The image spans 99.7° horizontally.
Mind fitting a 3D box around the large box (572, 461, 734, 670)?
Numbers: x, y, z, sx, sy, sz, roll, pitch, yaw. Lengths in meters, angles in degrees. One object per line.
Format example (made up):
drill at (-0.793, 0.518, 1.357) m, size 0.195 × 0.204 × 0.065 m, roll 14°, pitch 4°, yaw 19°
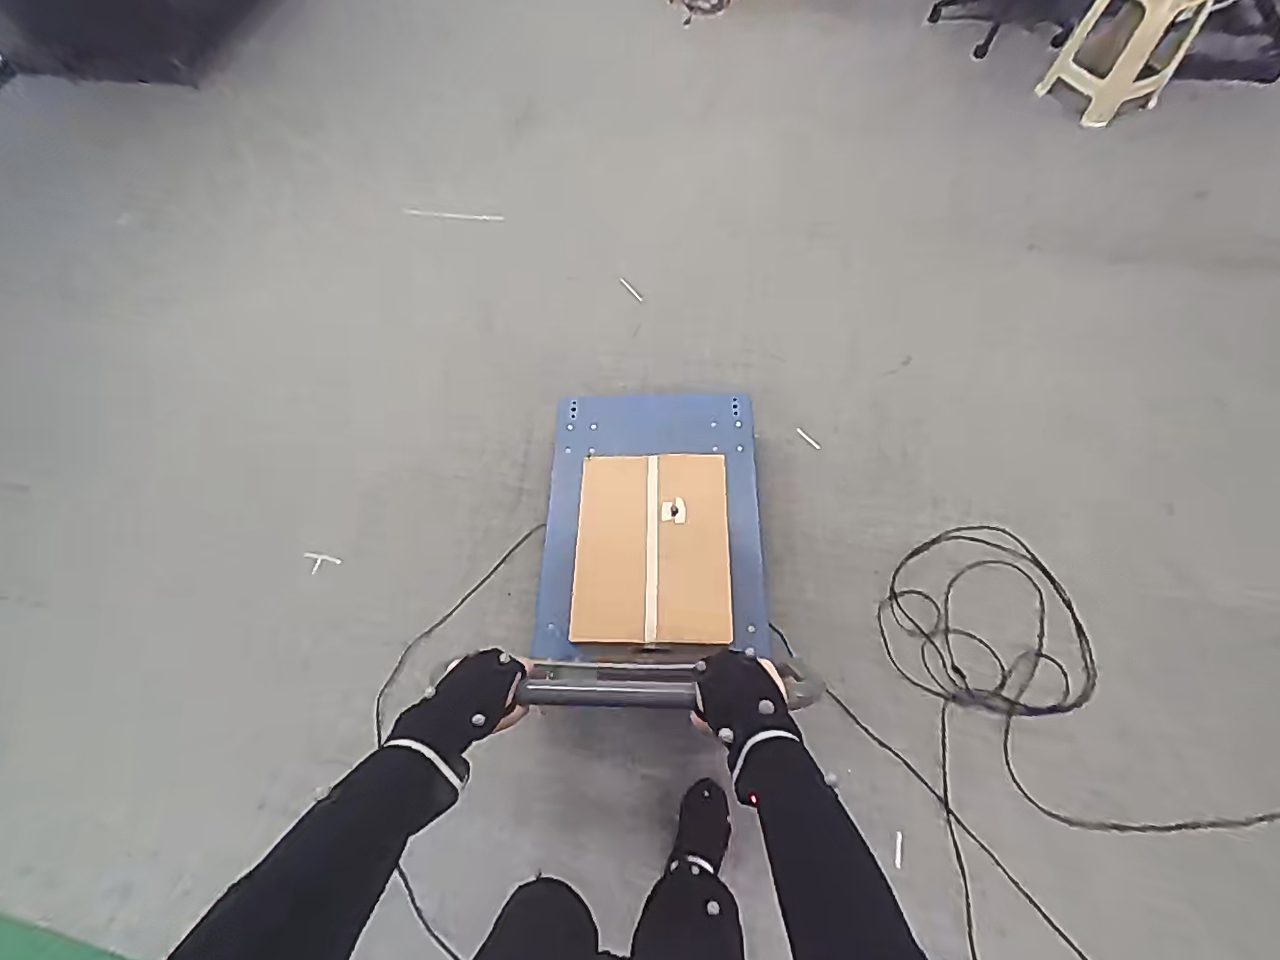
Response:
large box at (0.037, 0.207, 1.243) m, size 0.320 × 0.320 × 0.408 m, roll 0°, pitch 62°, yaw 4°
